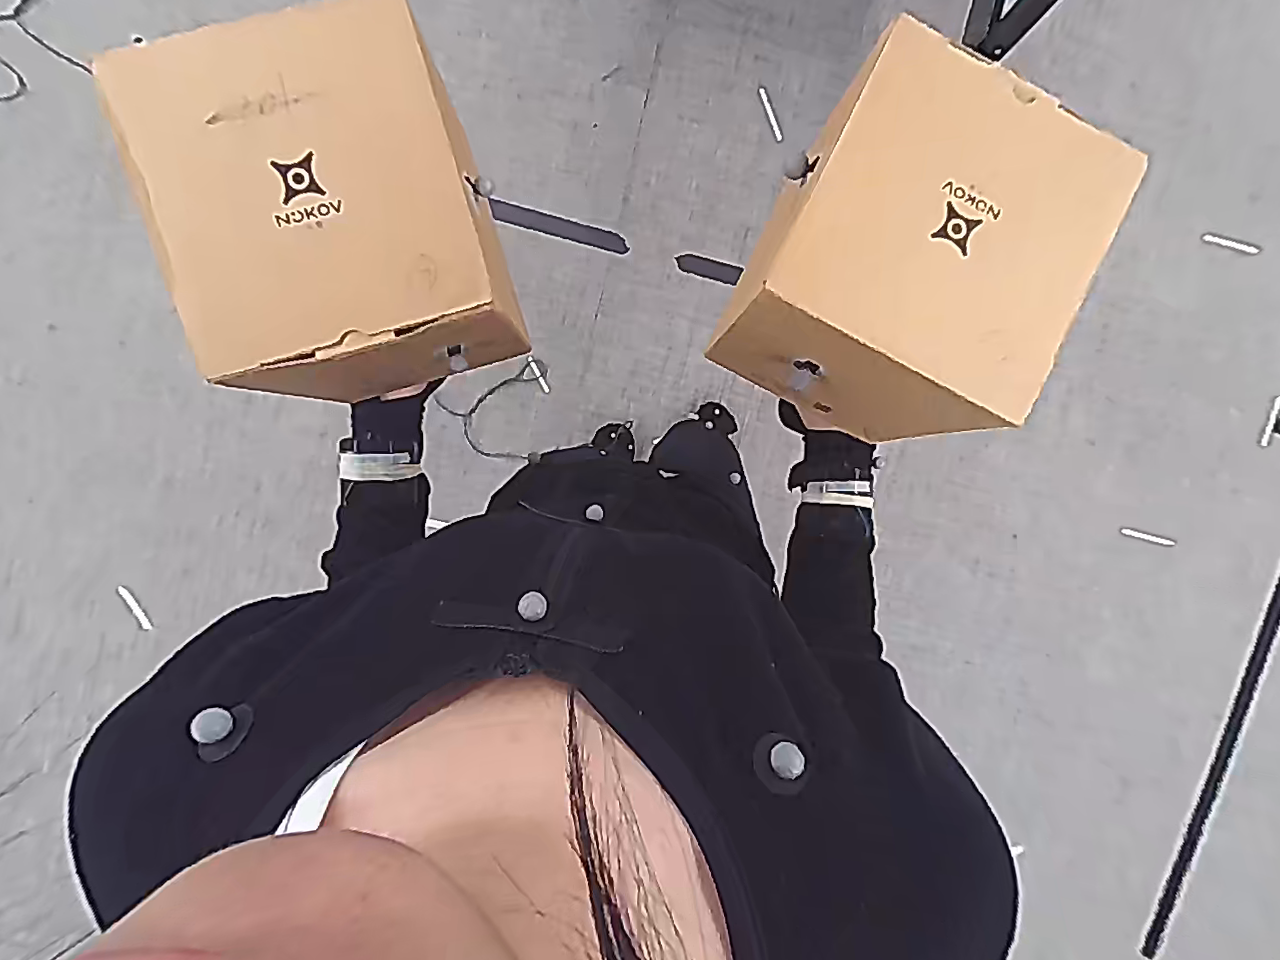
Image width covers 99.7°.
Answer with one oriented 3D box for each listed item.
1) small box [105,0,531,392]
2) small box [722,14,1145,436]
[{"bbox_3d":[-0.183,-0.165,0.371,0.168,0.176,0.179,-17,95,-4],"label":"small box"},{"bbox_3d":[0.172,-0.144,0.379,0.168,0.176,0.179,27,87,-4],"label":"small box"}]
